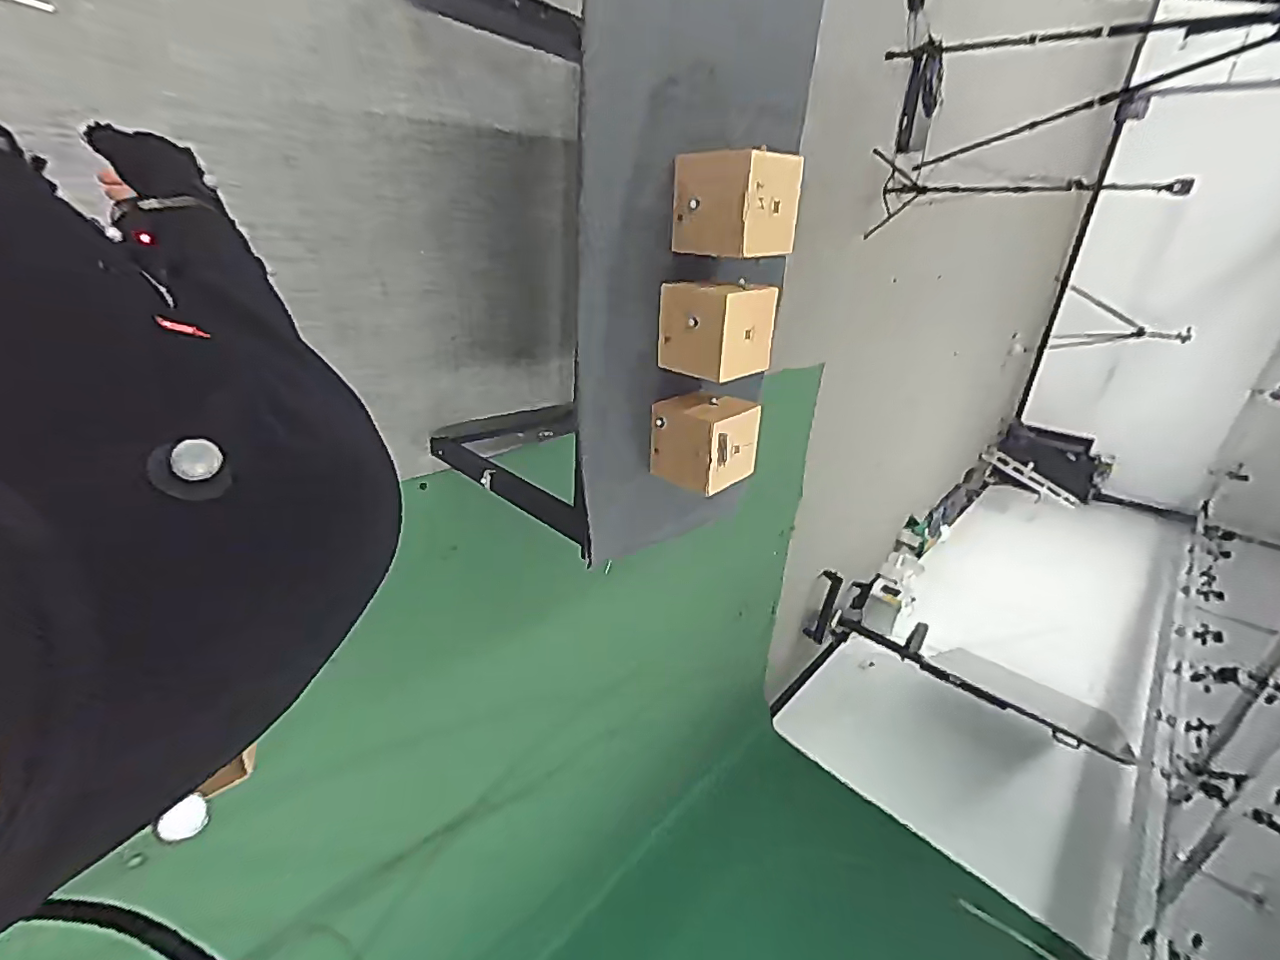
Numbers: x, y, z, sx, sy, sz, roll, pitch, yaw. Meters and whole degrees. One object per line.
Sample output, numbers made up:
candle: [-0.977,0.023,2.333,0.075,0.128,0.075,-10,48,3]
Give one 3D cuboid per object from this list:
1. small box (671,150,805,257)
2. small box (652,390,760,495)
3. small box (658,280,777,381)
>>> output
small box: [0.180,-0.516,1.016,0.179,0.176,0.168,-24,126,-40]
small box: [0.141,-0.090,1.196,0.179,0.176,0.168,-24,126,-41]
small box: [0.152,-0.309,1.097,0.179,0.176,0.168,-24,126,-41]
